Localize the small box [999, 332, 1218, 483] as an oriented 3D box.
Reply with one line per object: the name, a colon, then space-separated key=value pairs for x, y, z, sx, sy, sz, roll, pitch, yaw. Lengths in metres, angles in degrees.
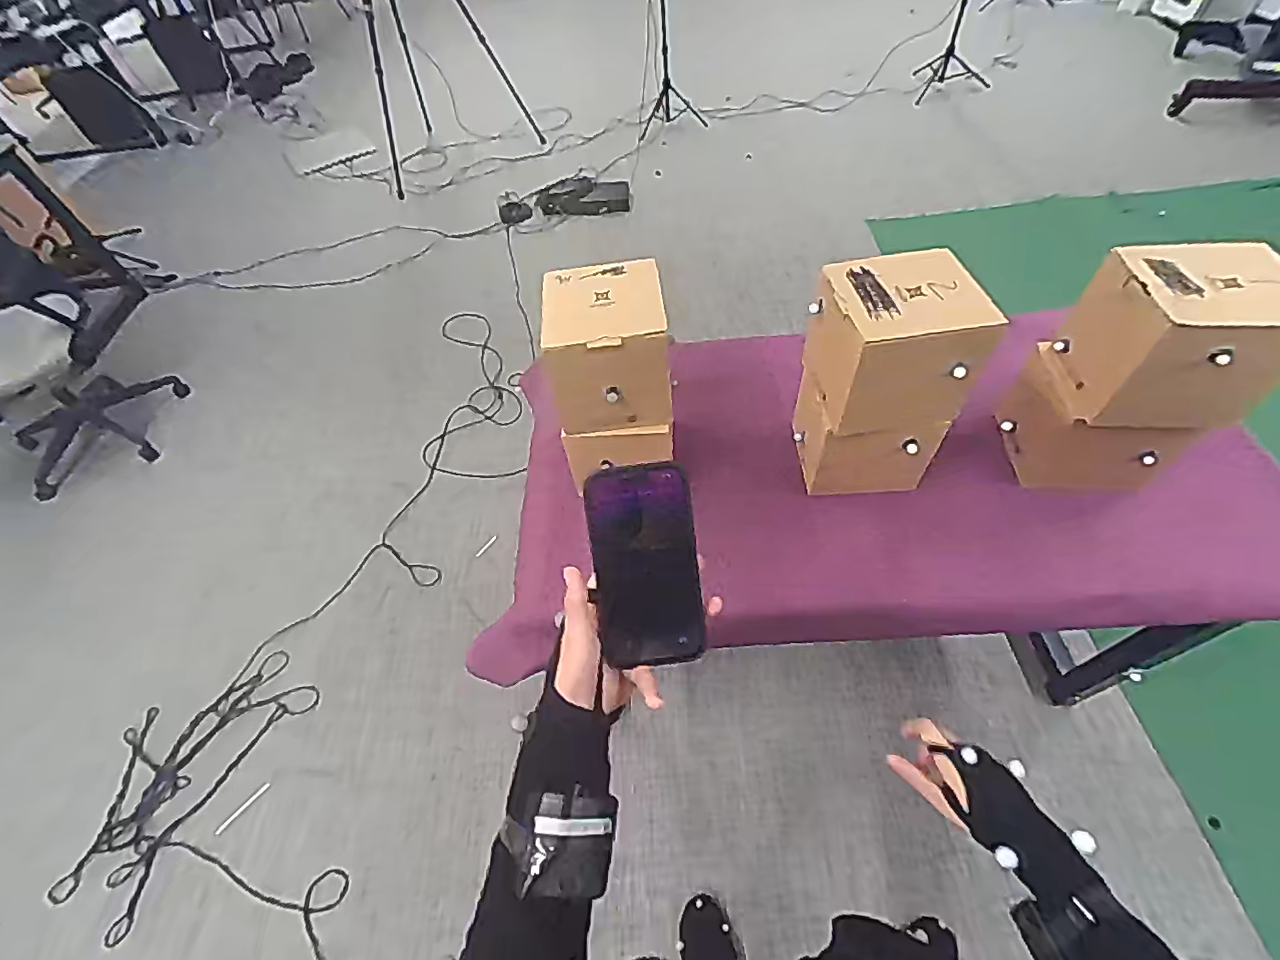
small box: x=0.700 y=-0.108 z=0.834 sx=0.179 sy=0.176 sz=0.168 roll=1 pitch=53 yaw=9

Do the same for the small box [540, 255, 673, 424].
small box: x=-0.043 y=-0.196 z=0.793 sx=0.168 sy=0.176 sz=0.179 roll=-7 pitch=54 yaw=2

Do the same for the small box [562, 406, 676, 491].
small box: x=-0.026 y=-0.092 z=0.918 sx=0.168 sy=0.176 sz=0.179 roll=-3 pitch=53 yaw=5

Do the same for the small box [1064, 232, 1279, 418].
small box: x=0.692 y=-0.194 z=0.694 sx=0.179 sy=0.176 sz=0.168 roll=2 pitch=53 yaw=8

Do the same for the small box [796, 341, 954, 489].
small box: x=0.362 y=-0.099 z=0.871 sx=0.179 sy=0.176 sz=0.168 roll=-4 pitch=53 yaw=5
